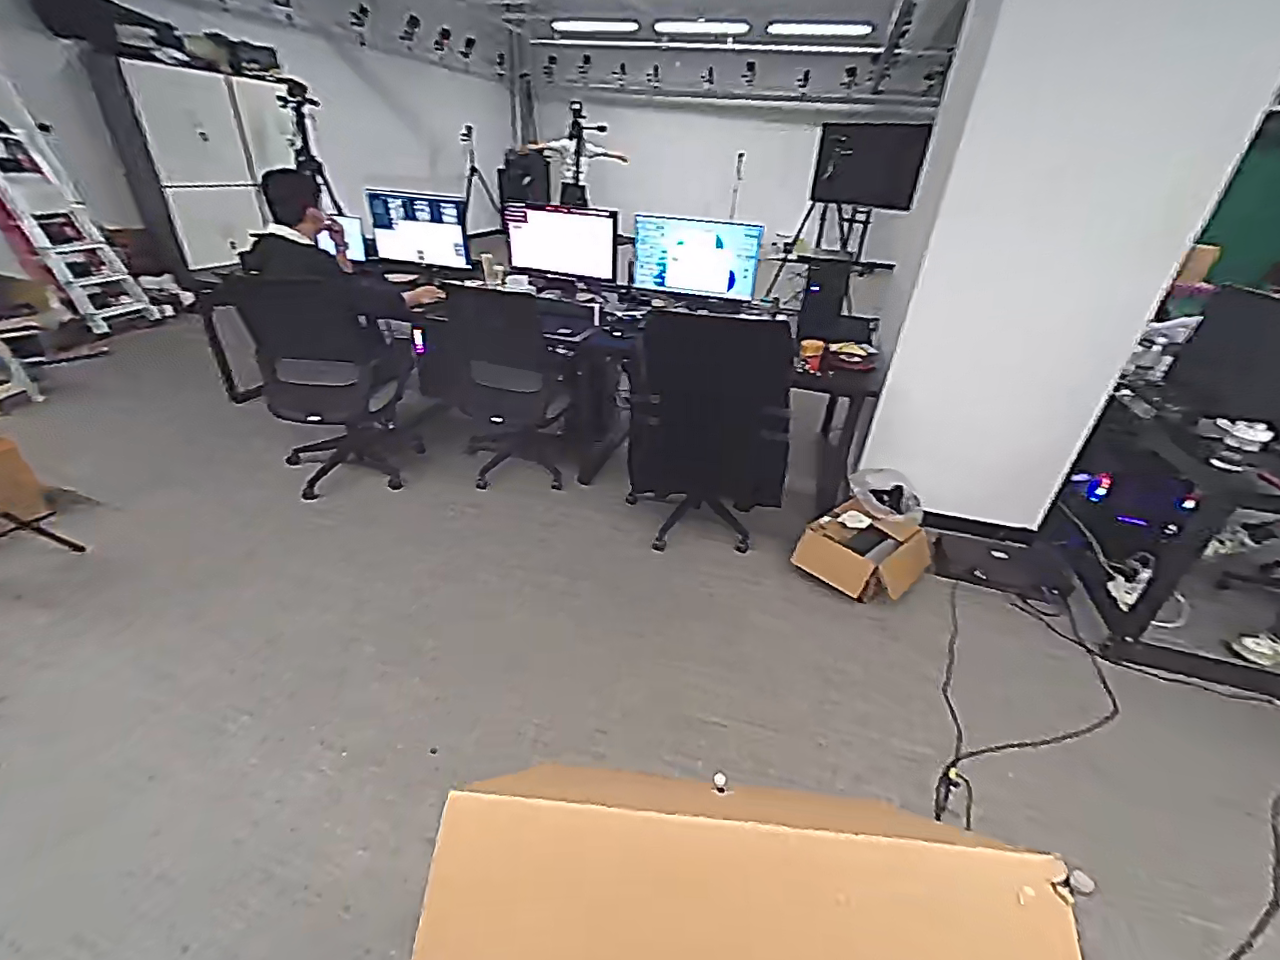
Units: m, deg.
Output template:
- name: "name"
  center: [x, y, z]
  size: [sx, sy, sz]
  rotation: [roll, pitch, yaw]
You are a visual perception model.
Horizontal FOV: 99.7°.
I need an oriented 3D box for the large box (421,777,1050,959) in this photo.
- name: "large box"
  center: [0.056, 0.438, 0.445]
  size: [0.408, 0.320, 0.320]
  rotation: [3, 67, 3]
